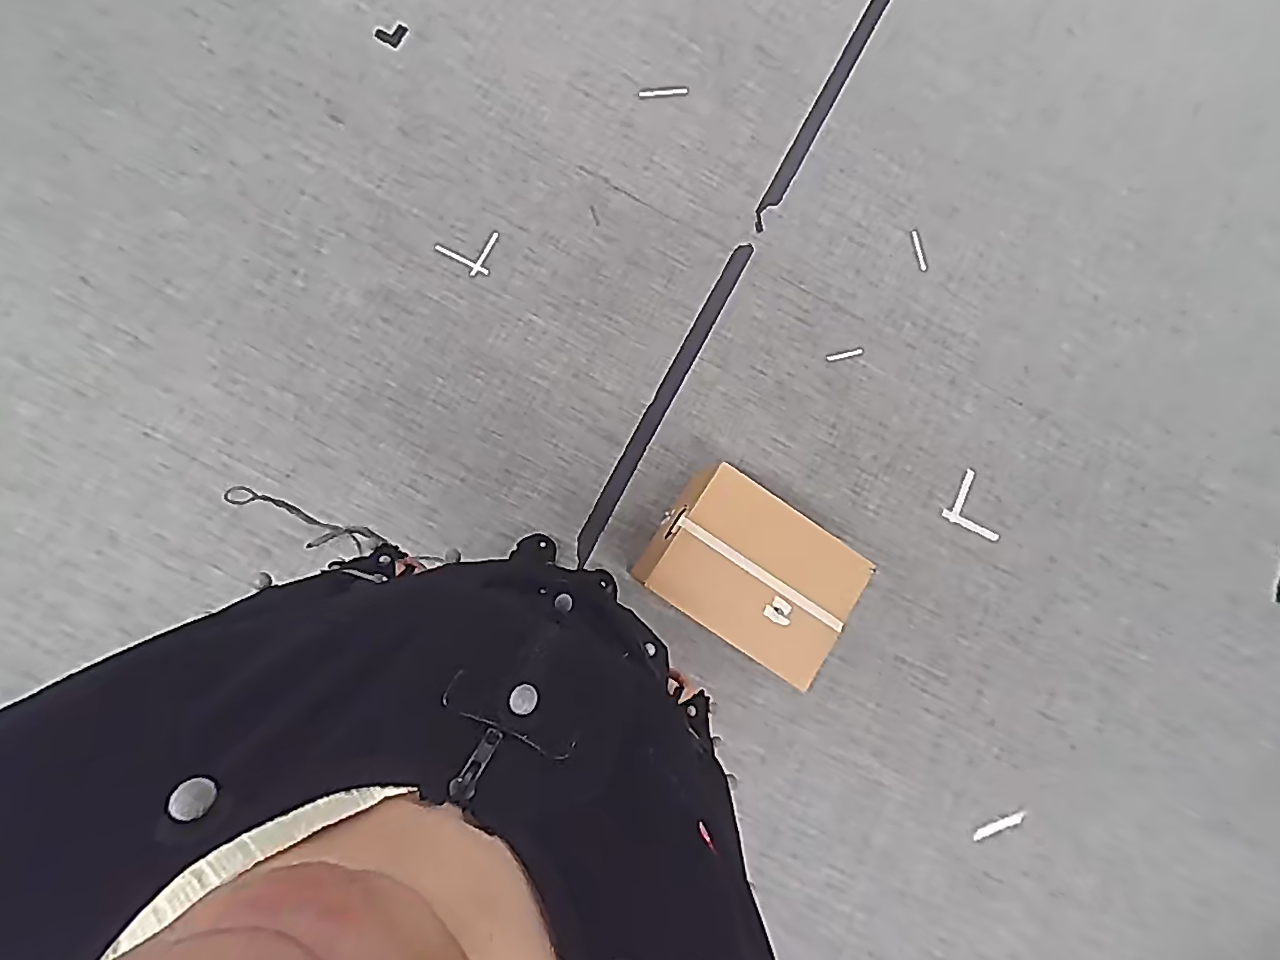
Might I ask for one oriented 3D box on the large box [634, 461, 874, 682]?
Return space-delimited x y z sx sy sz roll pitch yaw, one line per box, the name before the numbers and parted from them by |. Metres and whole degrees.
large box | 0.242 0.203 1.278 0.408 0.320 0.320 34 82 -3
